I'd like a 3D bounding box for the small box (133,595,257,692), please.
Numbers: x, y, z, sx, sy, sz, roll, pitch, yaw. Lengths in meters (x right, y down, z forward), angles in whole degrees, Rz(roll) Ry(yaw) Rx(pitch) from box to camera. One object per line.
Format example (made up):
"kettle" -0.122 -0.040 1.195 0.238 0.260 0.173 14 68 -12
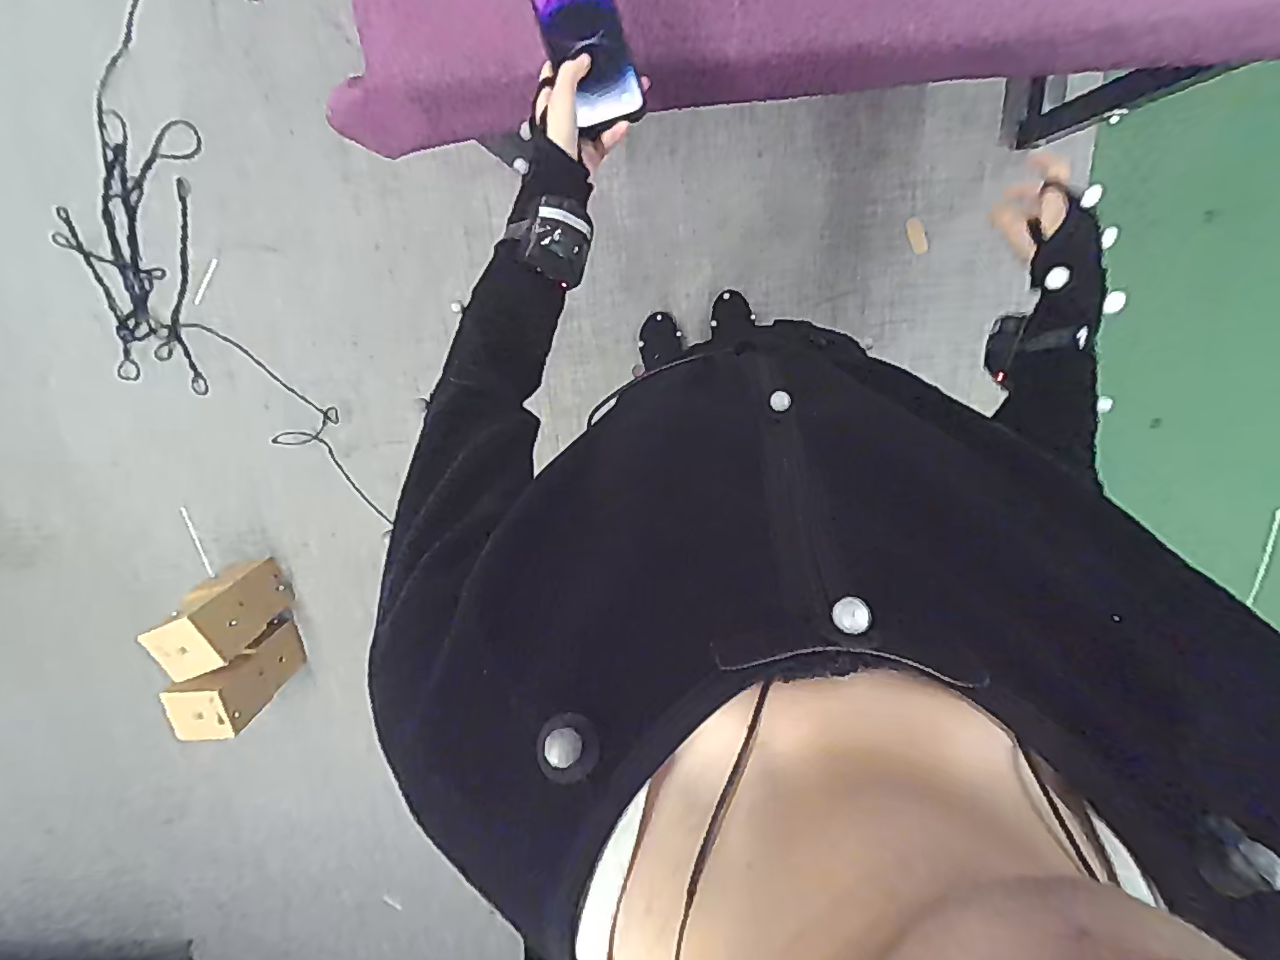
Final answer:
"small box" -1.209 0.443 1.492 0.179 0.176 0.168 -21 107 10

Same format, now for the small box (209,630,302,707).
"small box" -1.217 0.590 1.713 0.168 0.176 0.179 -4 109 5
